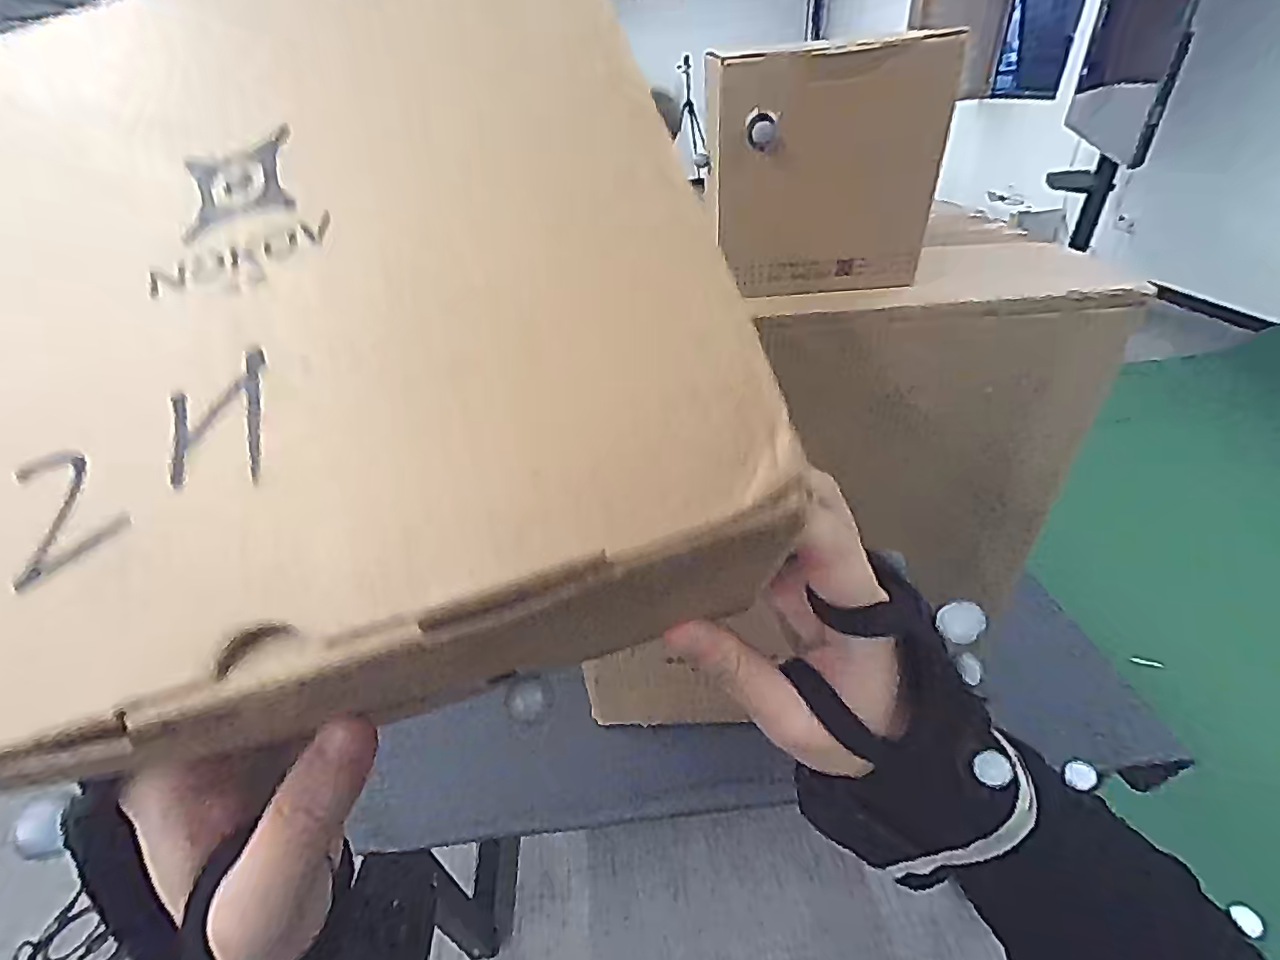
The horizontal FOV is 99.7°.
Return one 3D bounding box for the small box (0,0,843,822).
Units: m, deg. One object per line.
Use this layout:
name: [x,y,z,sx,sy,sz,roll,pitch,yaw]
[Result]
small box: [-0.062,-0.018,0.178,0.168,0.176,0.179,-17,71,2]
